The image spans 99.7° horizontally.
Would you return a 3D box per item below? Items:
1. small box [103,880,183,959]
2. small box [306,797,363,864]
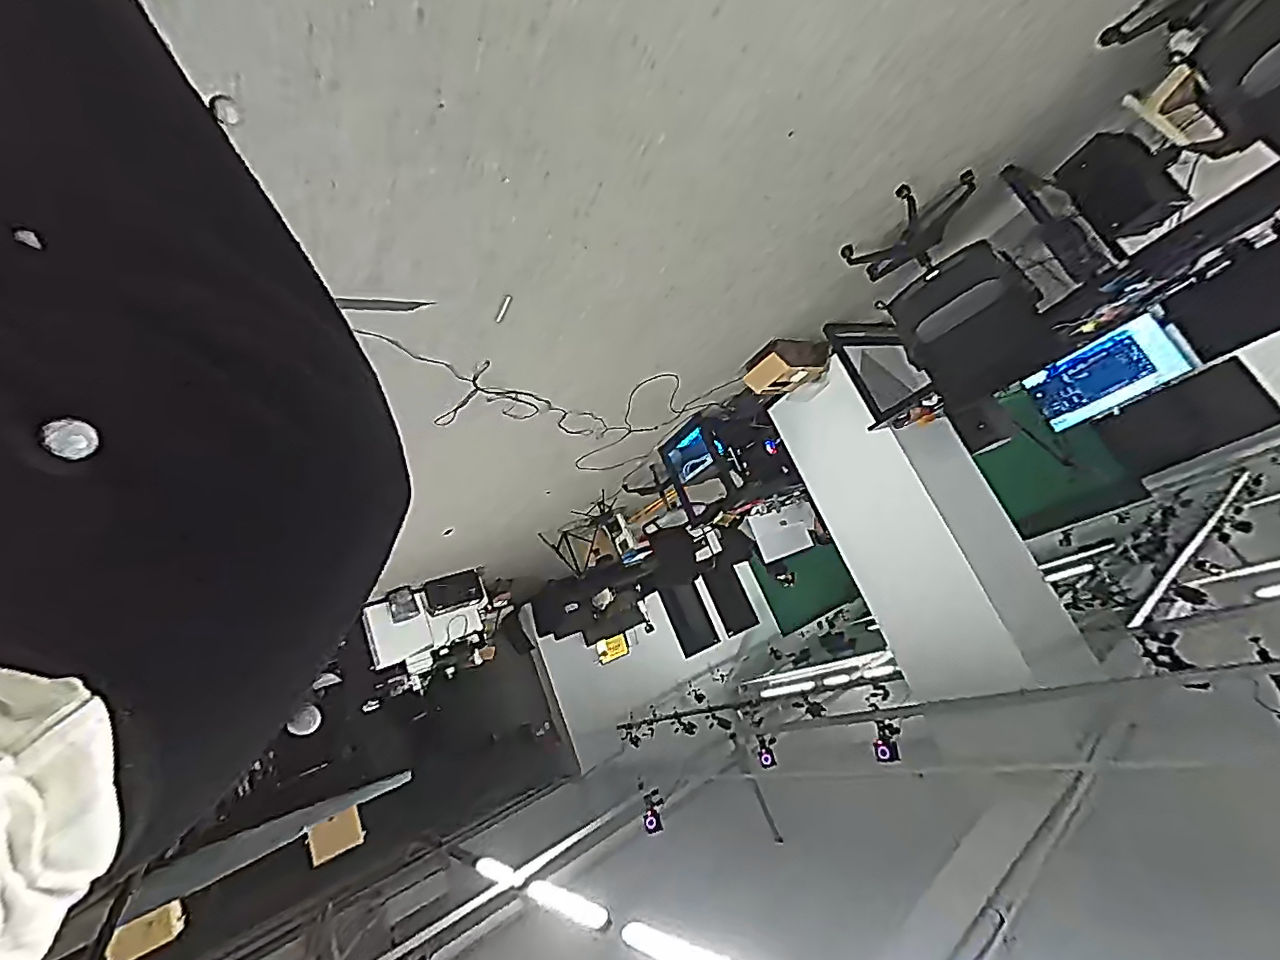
[{"bbox_3d":[-1.693,1.510,1.845,0.168,0.176,0.179,-13,162,-36],"label":"small box"},{"bbox_3d":[-1.235,1.408,2.181,0.179,0.176,0.168,-12,161,-35],"label":"small box"}]
